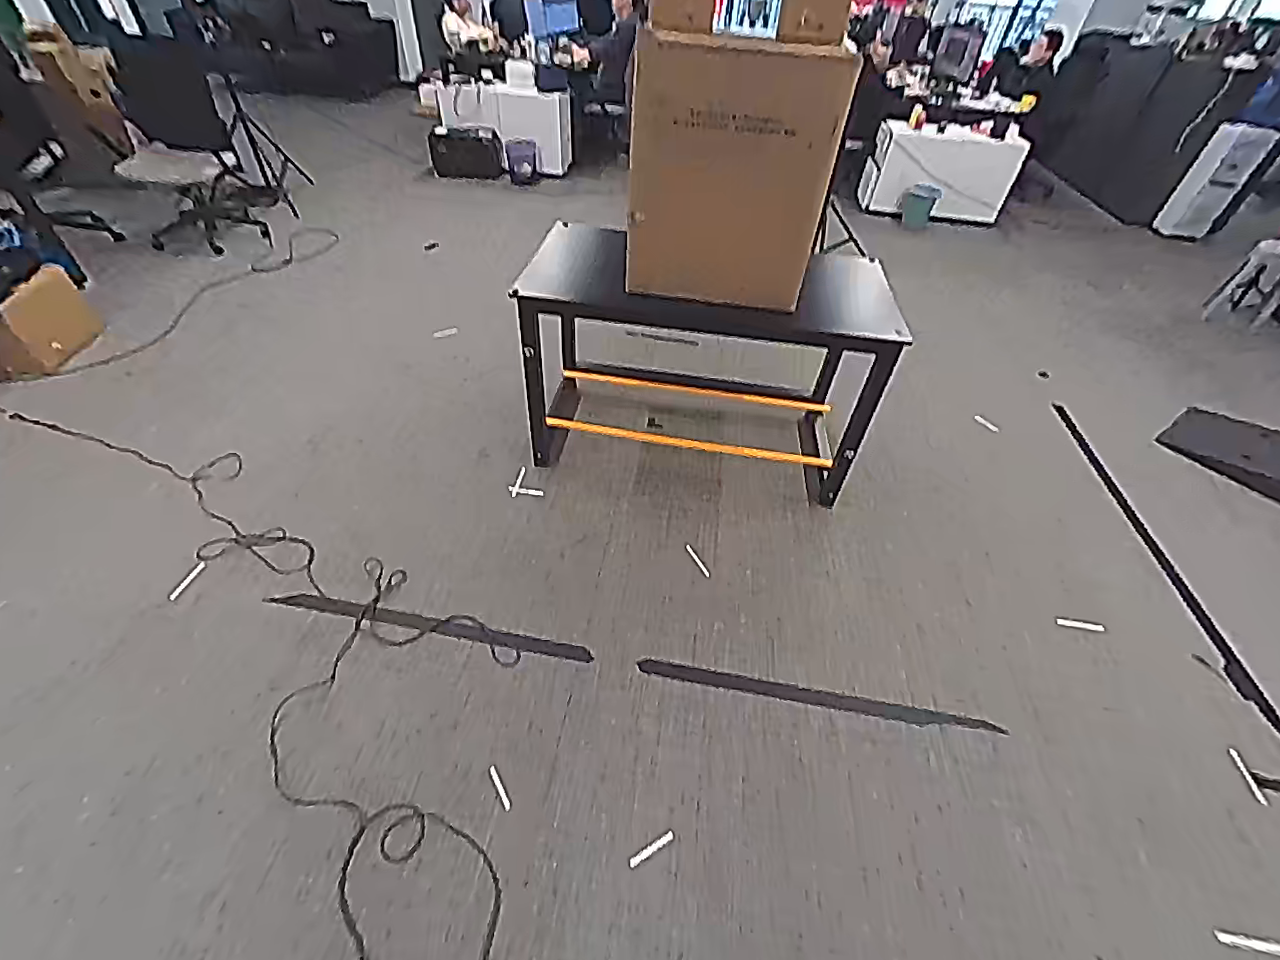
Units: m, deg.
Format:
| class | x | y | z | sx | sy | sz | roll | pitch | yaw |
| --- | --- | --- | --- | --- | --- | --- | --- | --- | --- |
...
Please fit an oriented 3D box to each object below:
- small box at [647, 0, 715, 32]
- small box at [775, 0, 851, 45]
| class | x | y | z | sx | sy | sz | roll | pitch | yaw |
| --- | --- | --- | --- | --- | --- | --- | --- | --- | --- |
| small box | 0.108 | -1.246 | 1.359 | 0.168 | 0.176 | 0.179 | 6 | 44 | -1 |
| small box | 0.430 | -1.195 | 1.335 | 0.168 | 0.176 | 0.179 | 8 | 44 | 7 |
